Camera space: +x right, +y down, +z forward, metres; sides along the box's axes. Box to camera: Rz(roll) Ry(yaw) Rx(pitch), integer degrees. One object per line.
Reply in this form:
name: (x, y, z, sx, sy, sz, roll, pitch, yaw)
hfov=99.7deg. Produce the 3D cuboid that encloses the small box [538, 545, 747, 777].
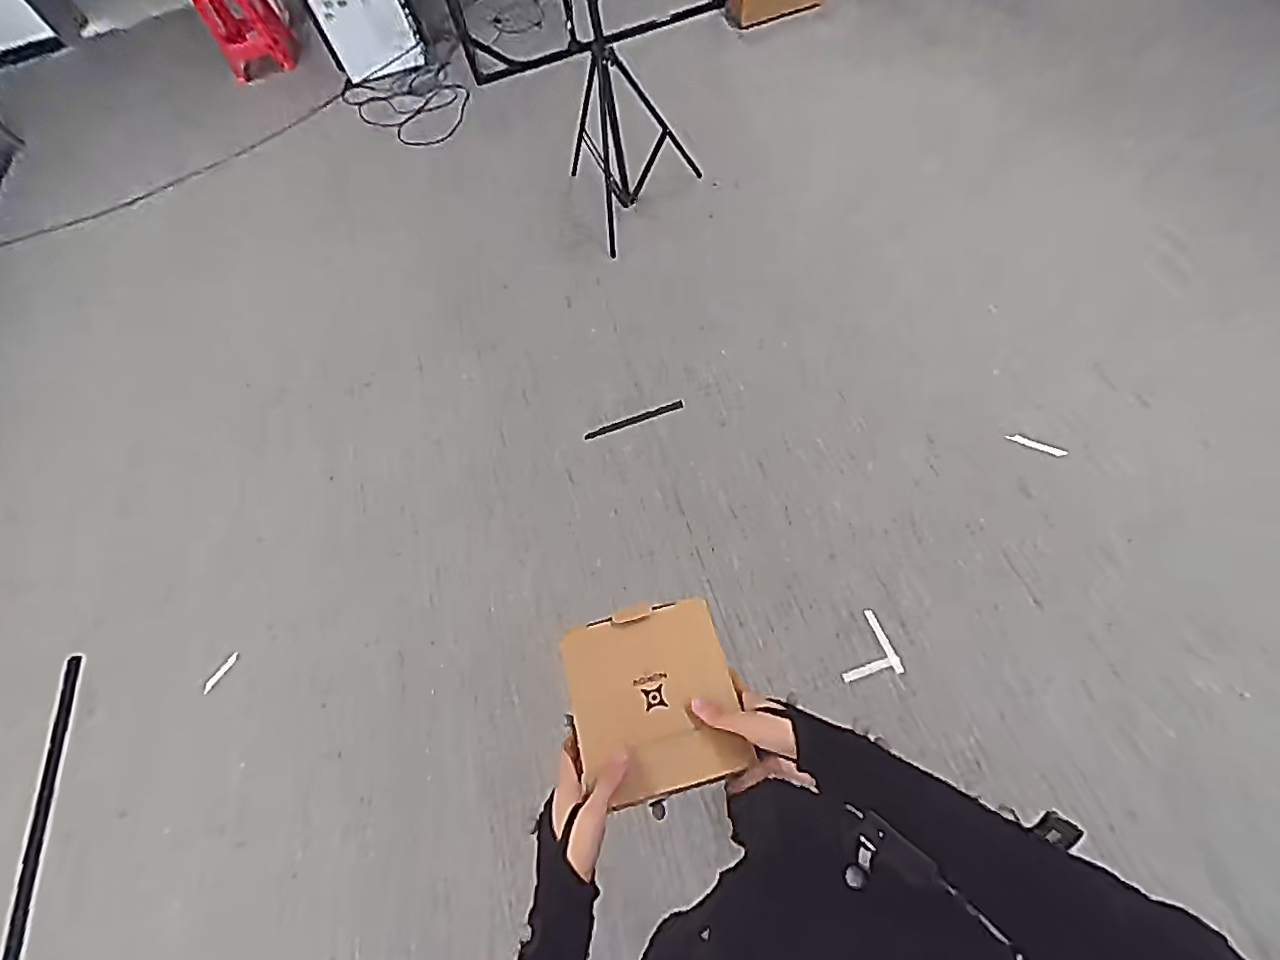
small box: (-0.006, 0.196, 0.577, 0.168, 0.176, 0.179, -13, 59, -9)
